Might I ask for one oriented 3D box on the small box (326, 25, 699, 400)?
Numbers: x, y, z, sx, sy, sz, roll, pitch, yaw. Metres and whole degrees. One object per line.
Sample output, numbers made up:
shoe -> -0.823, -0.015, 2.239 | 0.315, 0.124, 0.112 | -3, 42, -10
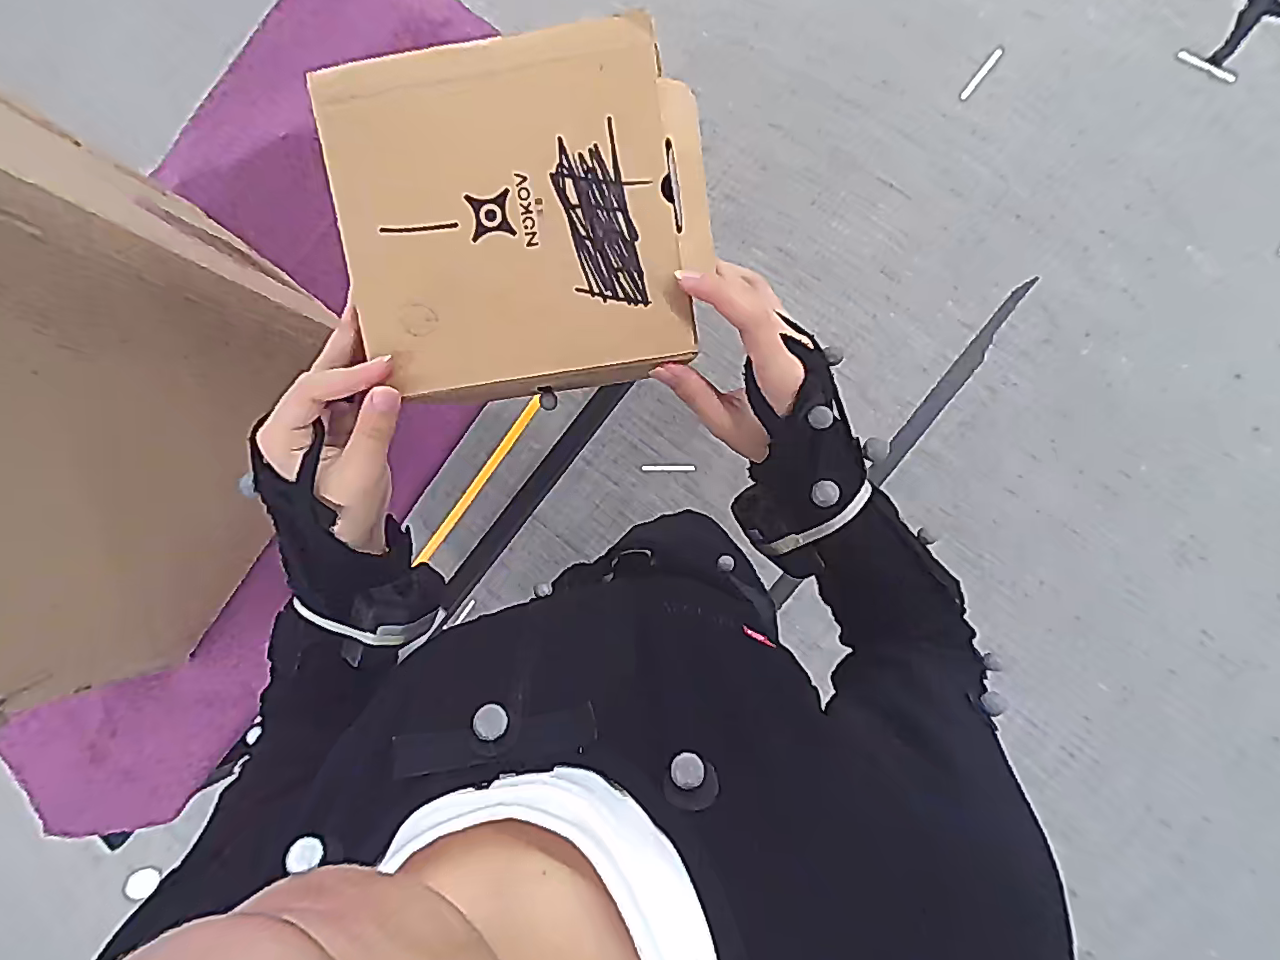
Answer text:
small box -> -0.063, -0.147, 0.362 | 0.179, 0.176, 0.168 | -8, 97, 3
